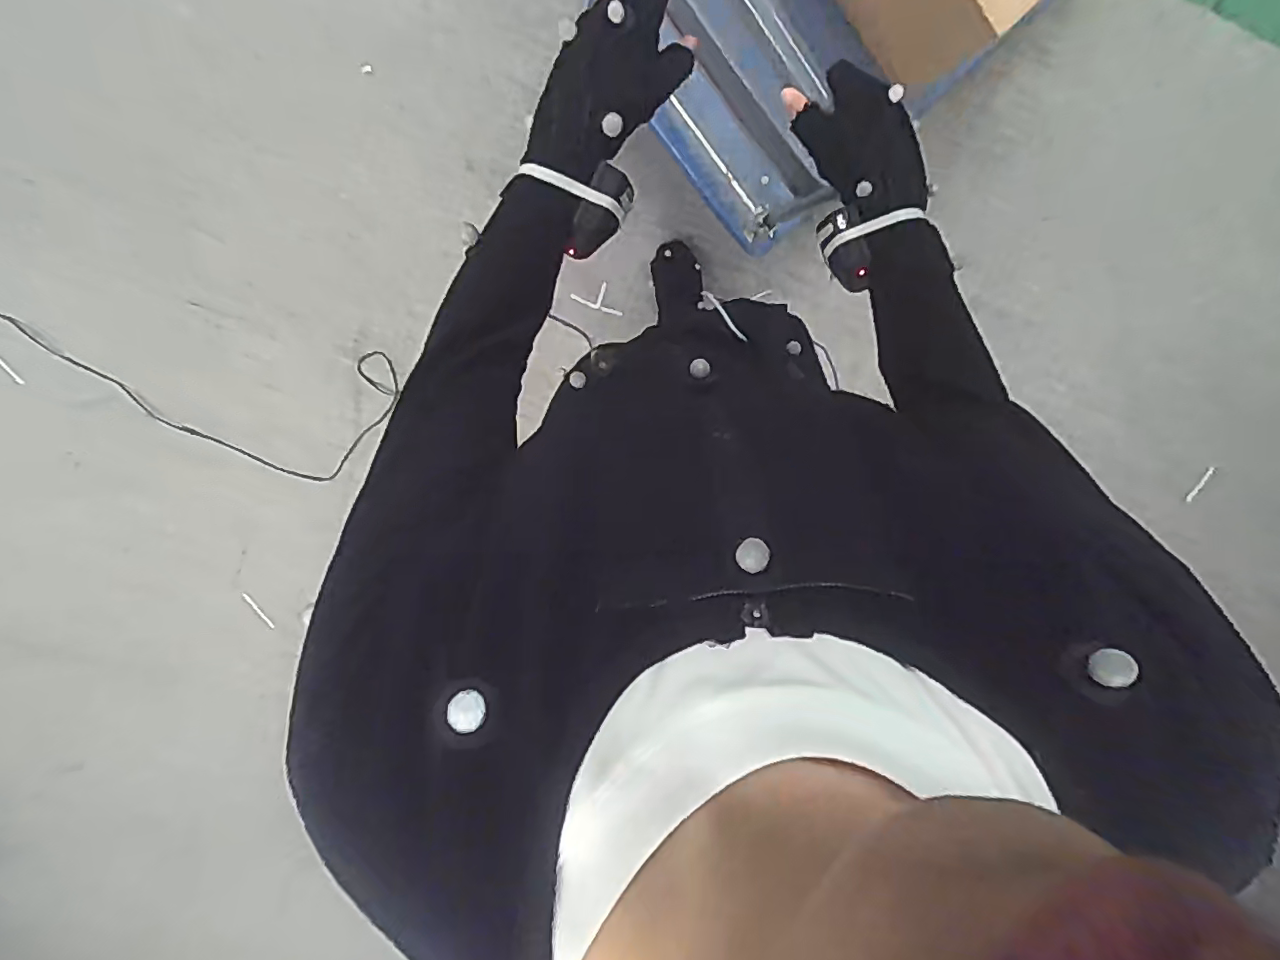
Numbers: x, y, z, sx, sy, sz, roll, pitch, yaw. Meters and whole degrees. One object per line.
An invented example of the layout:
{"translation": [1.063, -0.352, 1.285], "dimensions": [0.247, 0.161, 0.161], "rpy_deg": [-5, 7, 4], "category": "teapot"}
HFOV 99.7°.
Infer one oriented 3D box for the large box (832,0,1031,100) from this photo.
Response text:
{"translation": [0.475, -0.909, 0.824], "dimensions": [0.320, 0.320, 0.408], "rpy_deg": [-41, 103, 14], "category": "large box"}
